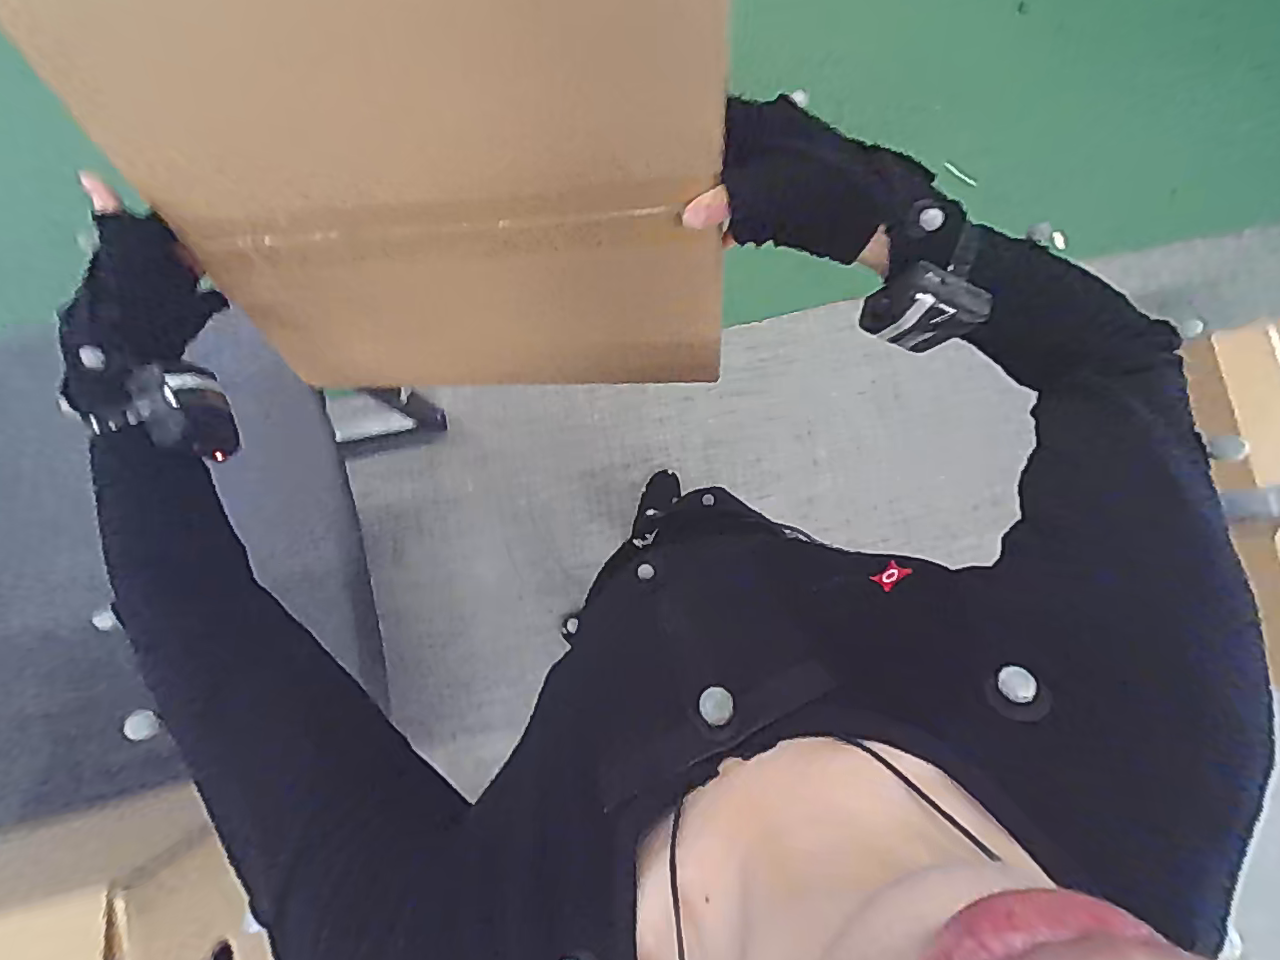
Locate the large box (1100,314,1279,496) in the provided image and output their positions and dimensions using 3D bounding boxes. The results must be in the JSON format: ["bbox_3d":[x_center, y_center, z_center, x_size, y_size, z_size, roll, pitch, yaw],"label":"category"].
[{"bbox_3d":[1.600,-0.195,1.493,0.320,0.320,0.408,-12,82,-4],"label":"large box"}]
